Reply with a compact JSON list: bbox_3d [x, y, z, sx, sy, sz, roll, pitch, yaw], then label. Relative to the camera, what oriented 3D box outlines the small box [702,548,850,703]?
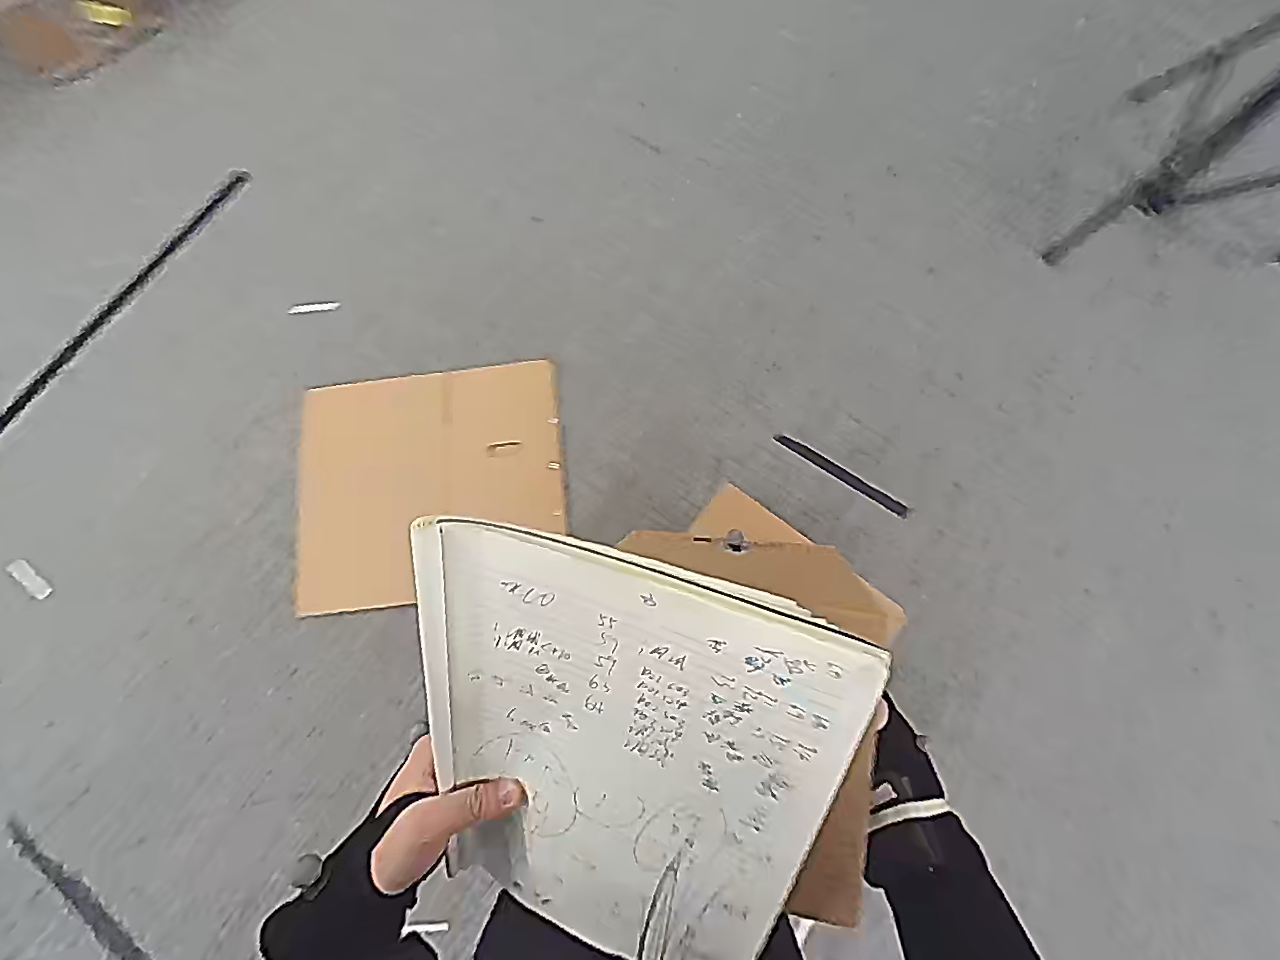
[{"bbox_3d":[0.214,0.236,0.901,0.168,0.176,0.179,32,80,9],"label":"small box"}]
